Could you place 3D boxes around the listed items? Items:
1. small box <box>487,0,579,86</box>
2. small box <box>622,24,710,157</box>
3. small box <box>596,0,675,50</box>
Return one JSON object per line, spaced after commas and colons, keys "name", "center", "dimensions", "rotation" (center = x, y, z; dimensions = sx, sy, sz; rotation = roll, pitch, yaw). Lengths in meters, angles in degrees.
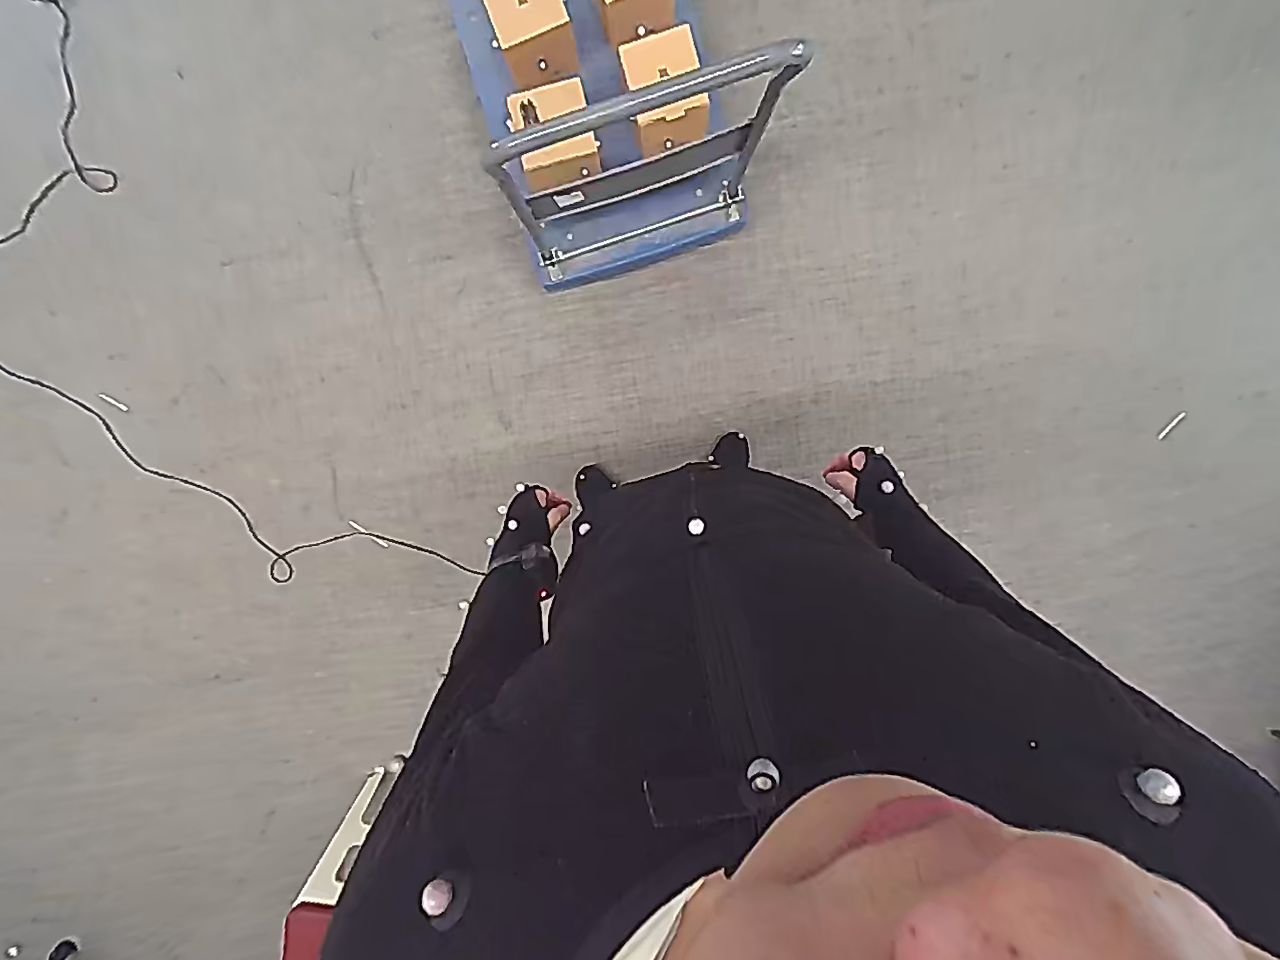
{"name": "small box", "center": [-0.256, -1.088, 1.289], "dimensions": [0.168, 0.176, 0.179], "rotation": [-21, 95, 3]}
{"name": "small box", "center": [0.060, -0.922, 1.296], "dimensions": [0.168, 0.176, 0.179], "rotation": [-16, 95, 3]}
{"name": "small box", "center": [-0.022, -1.179, 1.271], "dimensions": [0.168, 0.176, 0.179], "rotation": [-20, 96, 5]}
